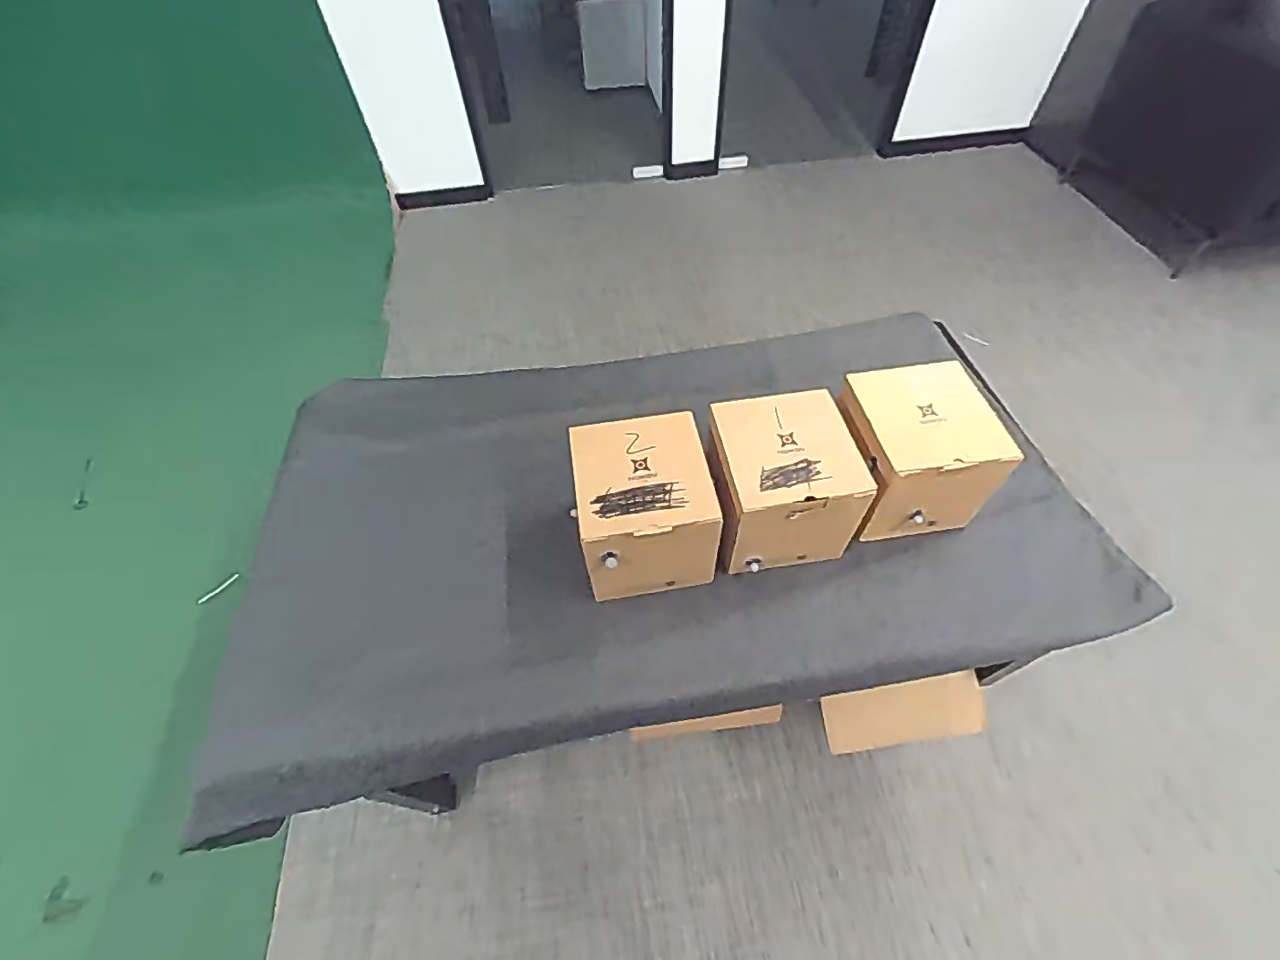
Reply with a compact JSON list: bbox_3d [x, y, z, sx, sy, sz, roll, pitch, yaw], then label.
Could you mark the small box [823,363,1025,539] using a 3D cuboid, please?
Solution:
[{"bbox_3d":[0.380,-0.039,0.767,0.168,0.176,0.179,-8,55,-3],"label":"small box"}]
